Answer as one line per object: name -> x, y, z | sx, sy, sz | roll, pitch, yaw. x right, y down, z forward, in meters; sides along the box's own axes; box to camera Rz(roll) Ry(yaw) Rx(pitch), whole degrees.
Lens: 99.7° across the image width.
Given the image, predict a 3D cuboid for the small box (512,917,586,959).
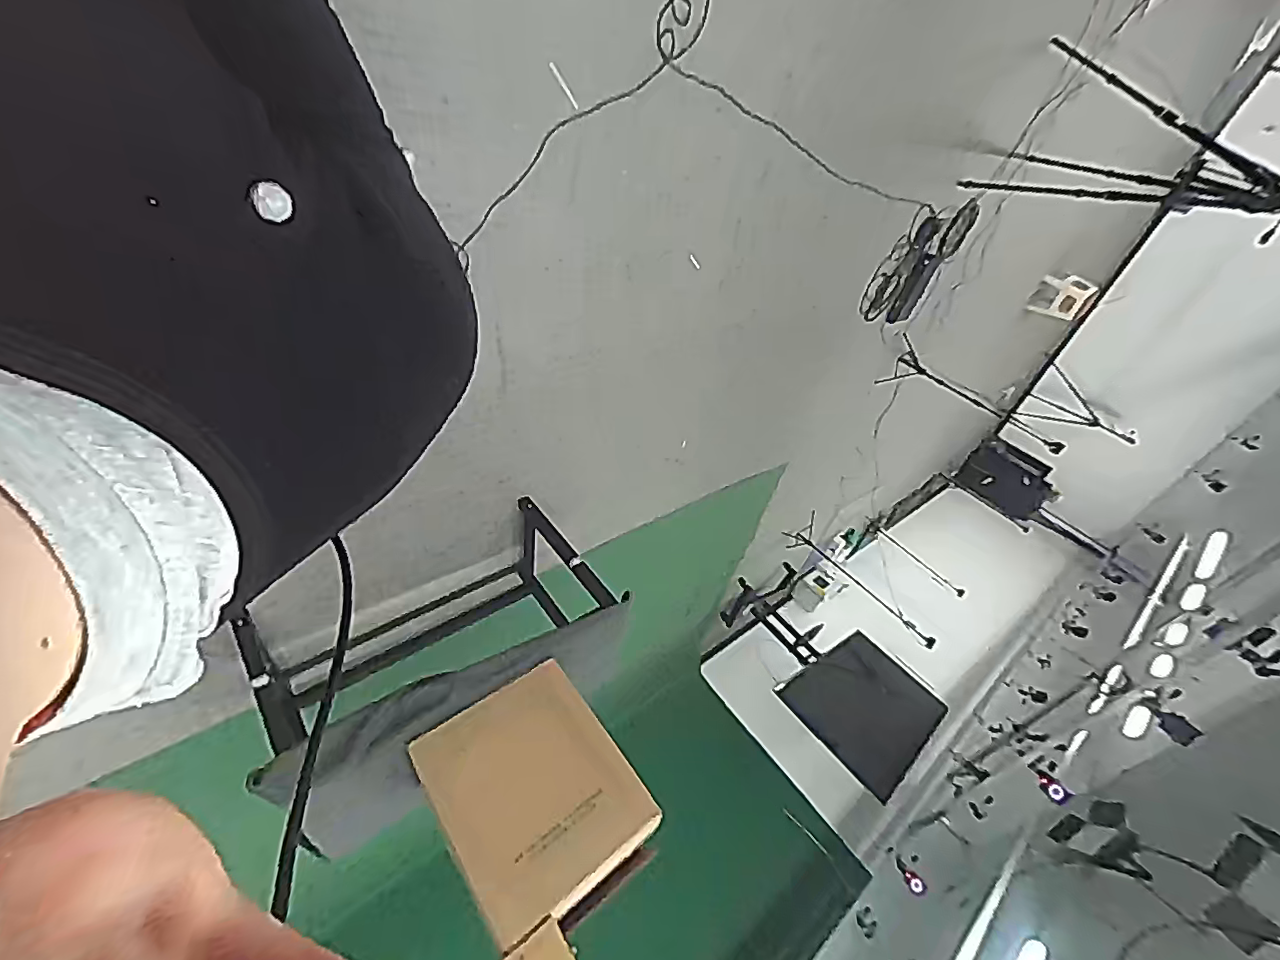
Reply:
small box -> -0.229, 1.286, 1.410 | 0.168, 0.176, 0.179 | -28, 146, -25
